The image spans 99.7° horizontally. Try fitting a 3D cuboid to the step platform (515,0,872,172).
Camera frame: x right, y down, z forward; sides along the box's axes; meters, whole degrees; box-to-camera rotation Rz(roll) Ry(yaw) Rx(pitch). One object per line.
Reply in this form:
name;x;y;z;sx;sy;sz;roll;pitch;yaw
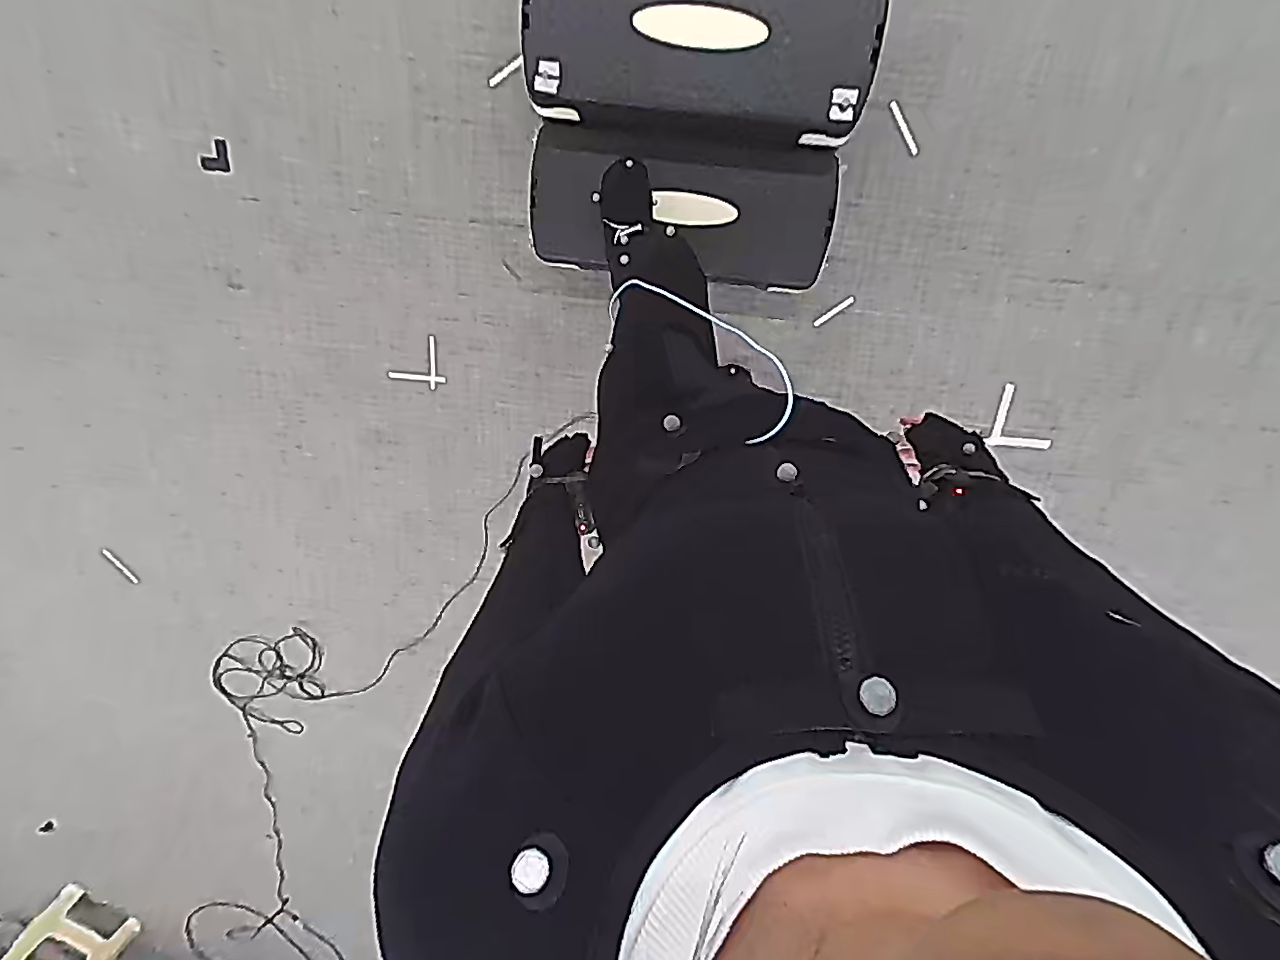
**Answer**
step platform;0.096;-0.826;1.095;0.684;0.204;0.286;6;110;1
